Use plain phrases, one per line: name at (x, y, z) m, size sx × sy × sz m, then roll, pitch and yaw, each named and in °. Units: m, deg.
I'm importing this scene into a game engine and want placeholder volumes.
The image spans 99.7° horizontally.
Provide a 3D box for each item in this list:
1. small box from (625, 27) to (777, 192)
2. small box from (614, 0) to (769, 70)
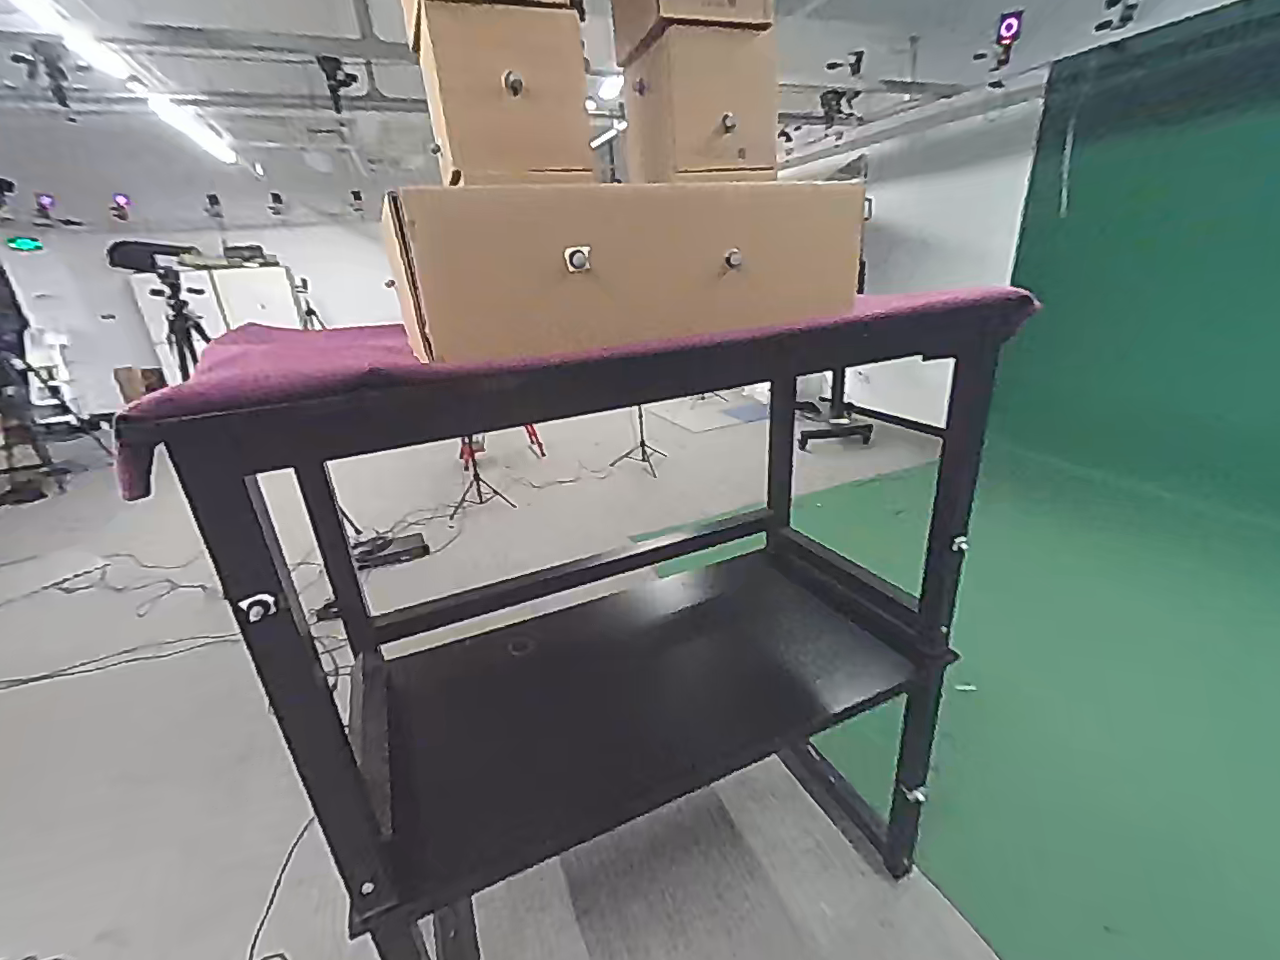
small box at (0.087, -0.538, 0.810) m, size 0.168 × 0.176 × 0.179 m, roll -14°, pitch 23°, yaw -18°
small box at (0.063, -0.685, 0.742) m, size 0.168 × 0.176 × 0.179 m, roll -13°, pitch 23°, yaw -17°
